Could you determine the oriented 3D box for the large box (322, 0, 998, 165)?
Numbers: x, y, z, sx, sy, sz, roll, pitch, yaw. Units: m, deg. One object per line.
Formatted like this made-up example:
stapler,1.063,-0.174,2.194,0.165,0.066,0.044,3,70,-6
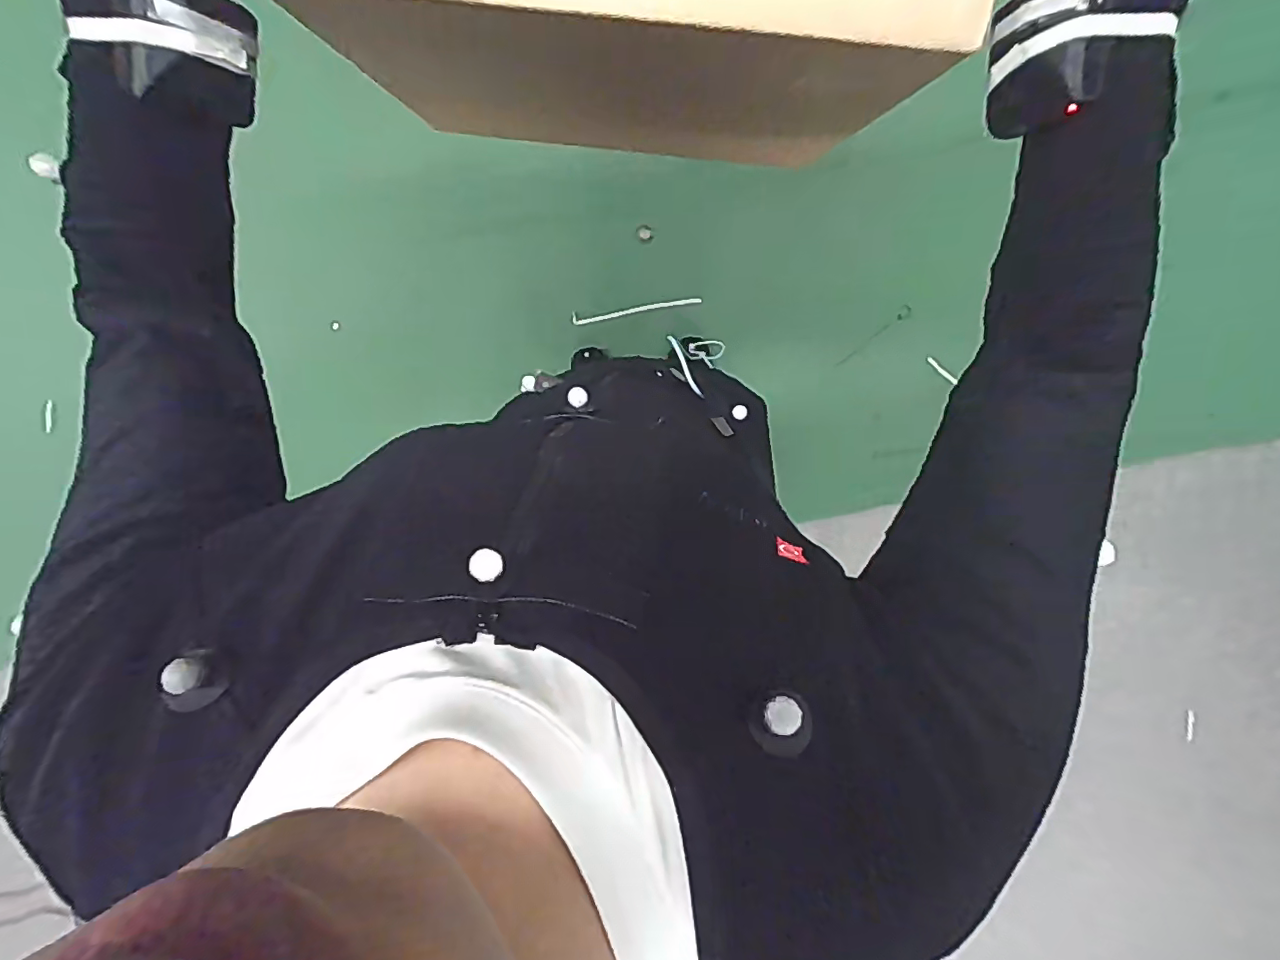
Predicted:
large box,0.008,-0.452,0.393,0.408,0.320,0.320,4,109,-4
